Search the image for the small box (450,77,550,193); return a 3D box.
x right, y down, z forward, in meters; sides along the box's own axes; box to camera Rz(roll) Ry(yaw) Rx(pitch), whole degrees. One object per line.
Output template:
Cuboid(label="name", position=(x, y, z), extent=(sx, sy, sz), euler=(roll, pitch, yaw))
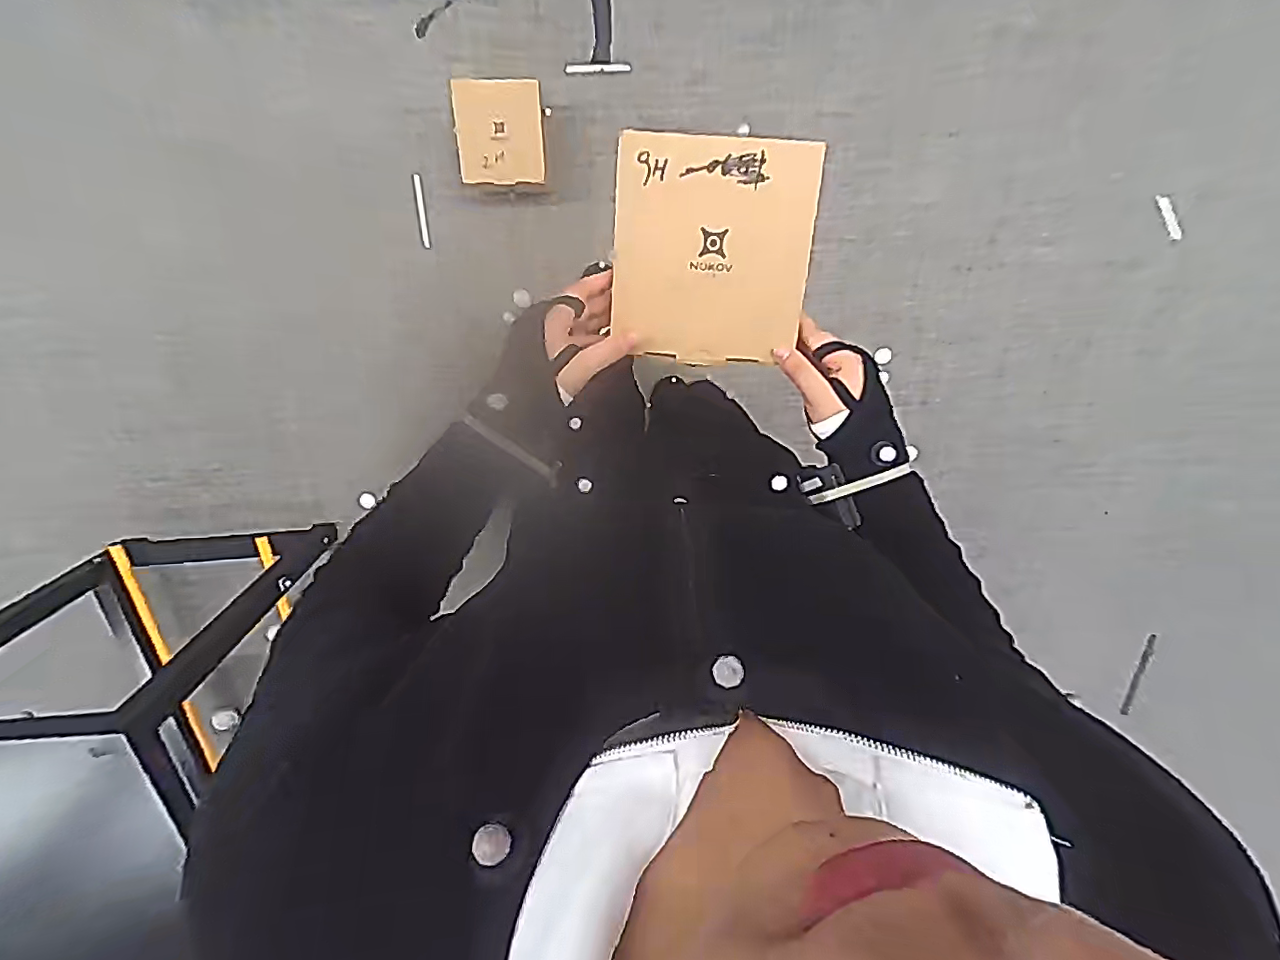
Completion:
Cuboid(label="small box", position=(-0.280, -0.702, 1.116), extent=(0.168, 0.176, 0.179), euler=(-2, 113, -3))
